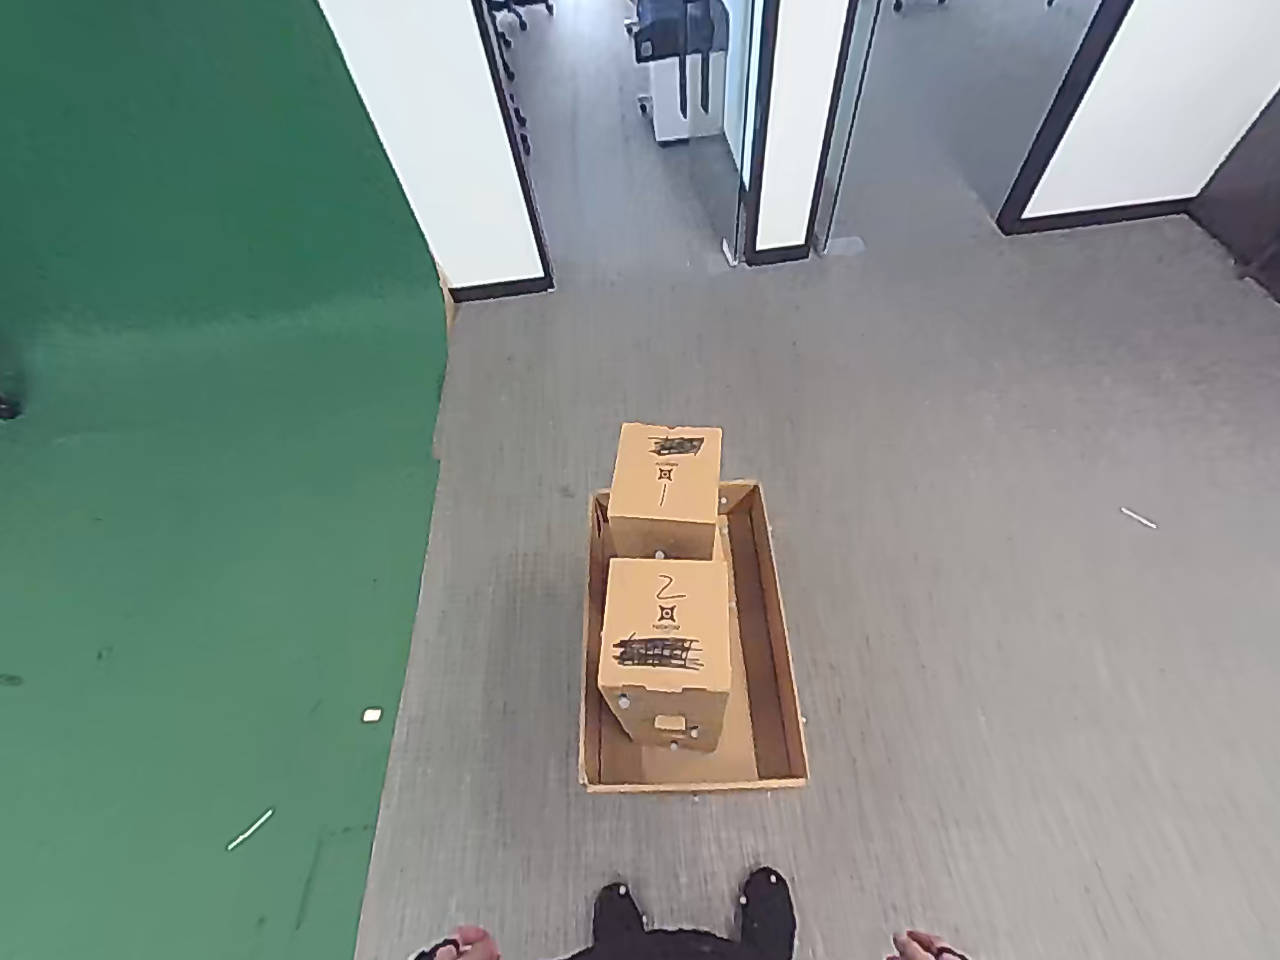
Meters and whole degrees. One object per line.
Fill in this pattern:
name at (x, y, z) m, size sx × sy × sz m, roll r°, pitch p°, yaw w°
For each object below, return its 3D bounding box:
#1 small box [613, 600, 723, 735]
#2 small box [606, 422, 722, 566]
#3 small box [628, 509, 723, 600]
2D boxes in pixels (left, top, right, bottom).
small box at (0.054, 0.318, 0.905) m, size 0.168 × 0.176 × 0.179 m, roll 1°, pitch 55°, yaw 6°
small box at (0.045, 0.026, 0.908) m, size 0.168 × 0.176 × 0.179 m, roll 4°, pitch 59°, yaw 8°
small box at (0.064, 0.118, 1.043) m, size 0.168 × 0.176 × 0.179 m, roll -4°, pitch 58°, yaw 2°
